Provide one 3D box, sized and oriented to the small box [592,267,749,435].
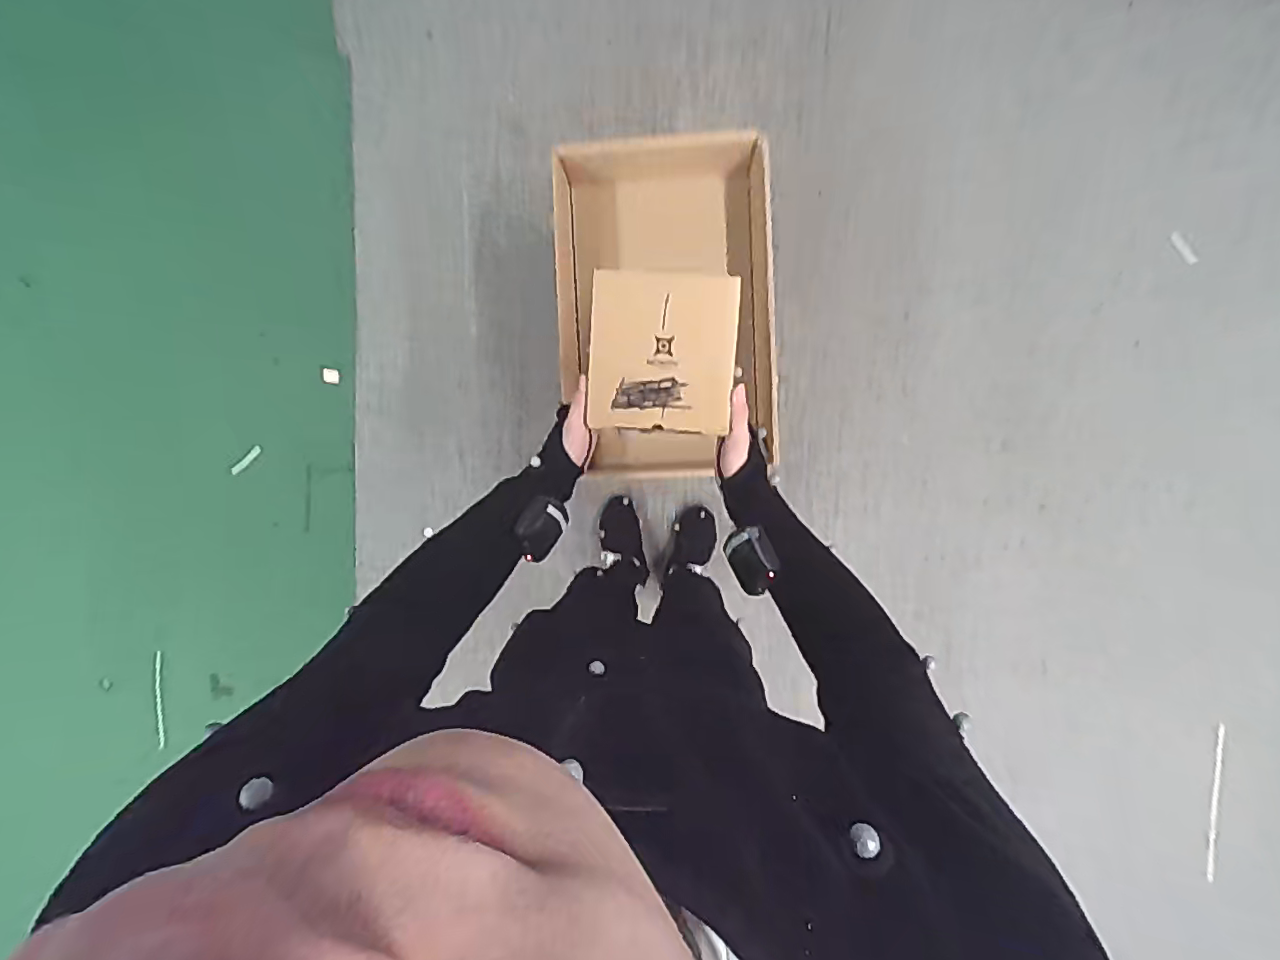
[{"bbox_3d":[0.035,-0.151,0.674,0.168,0.176,0.179,3,97,1],"label":"small box"}]
